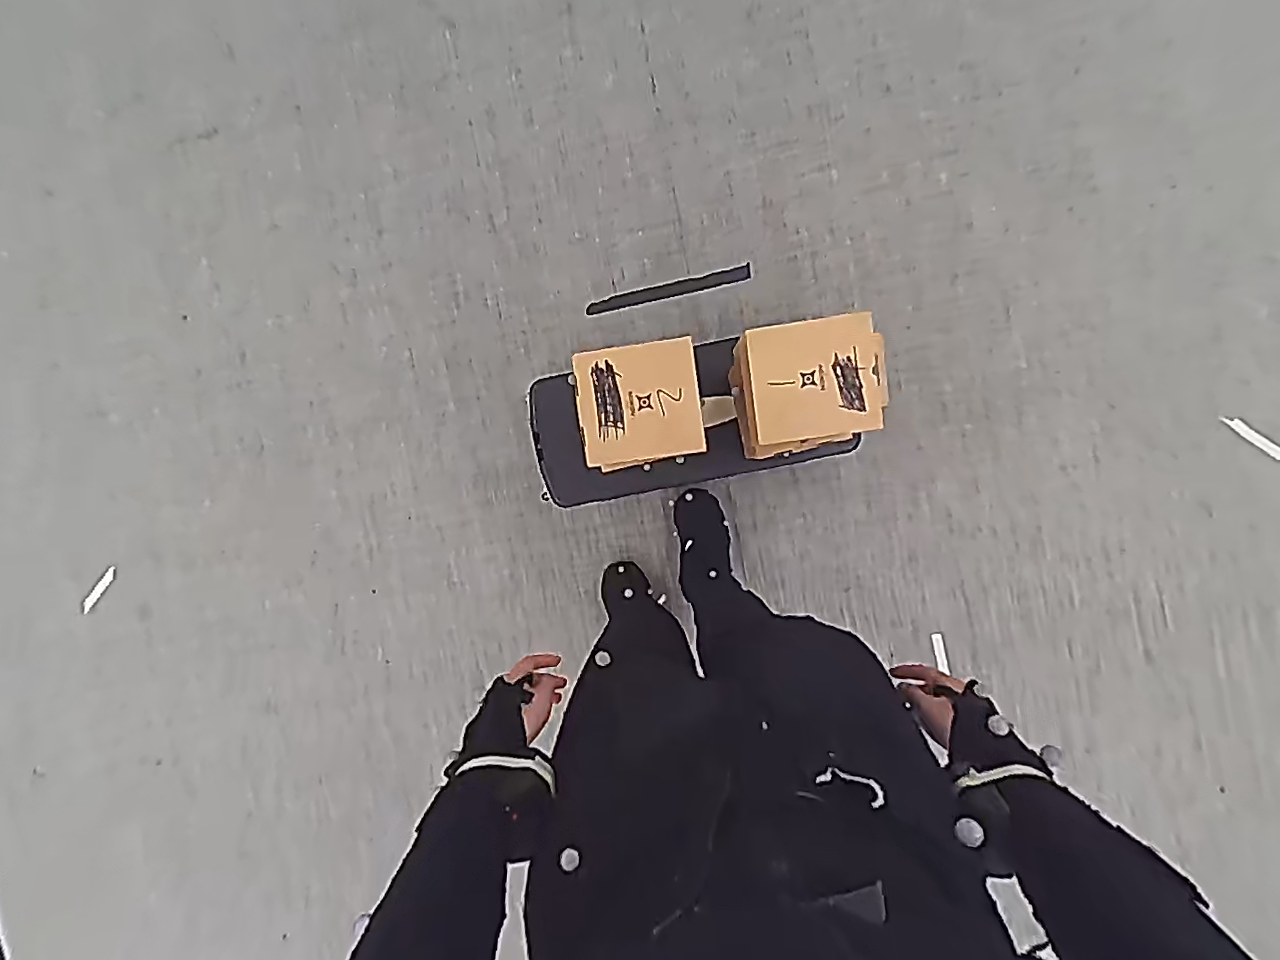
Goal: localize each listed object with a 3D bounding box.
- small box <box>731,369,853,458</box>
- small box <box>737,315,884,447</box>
[{"bbox_3d":[0.269,-0.141,0.995,0.168,0.176,0.179,-13,93,5],"label":"small box"},{"bbox_3d":[0.251,-0.144,0.831,0.179,0.176,0.168,-7,93,5],"label":"small box"}]
